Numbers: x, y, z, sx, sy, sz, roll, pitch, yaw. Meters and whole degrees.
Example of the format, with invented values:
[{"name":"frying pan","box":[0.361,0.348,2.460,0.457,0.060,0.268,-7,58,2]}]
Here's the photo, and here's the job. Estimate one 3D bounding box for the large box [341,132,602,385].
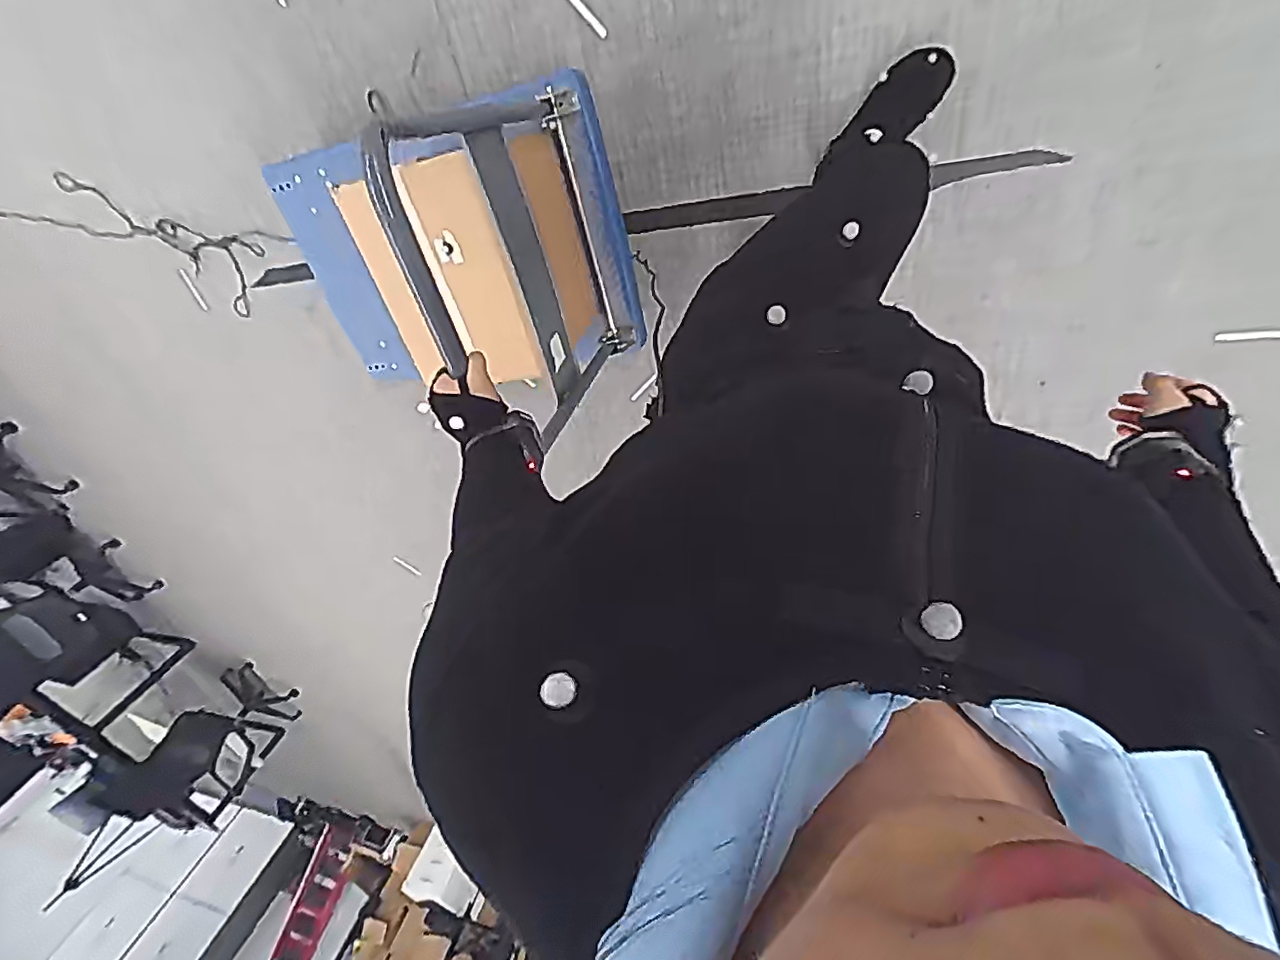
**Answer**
[{"name":"large box","box":[-0.317,-0.460,1.149,0.320,0.320,0.408,-2,125,20]}]
